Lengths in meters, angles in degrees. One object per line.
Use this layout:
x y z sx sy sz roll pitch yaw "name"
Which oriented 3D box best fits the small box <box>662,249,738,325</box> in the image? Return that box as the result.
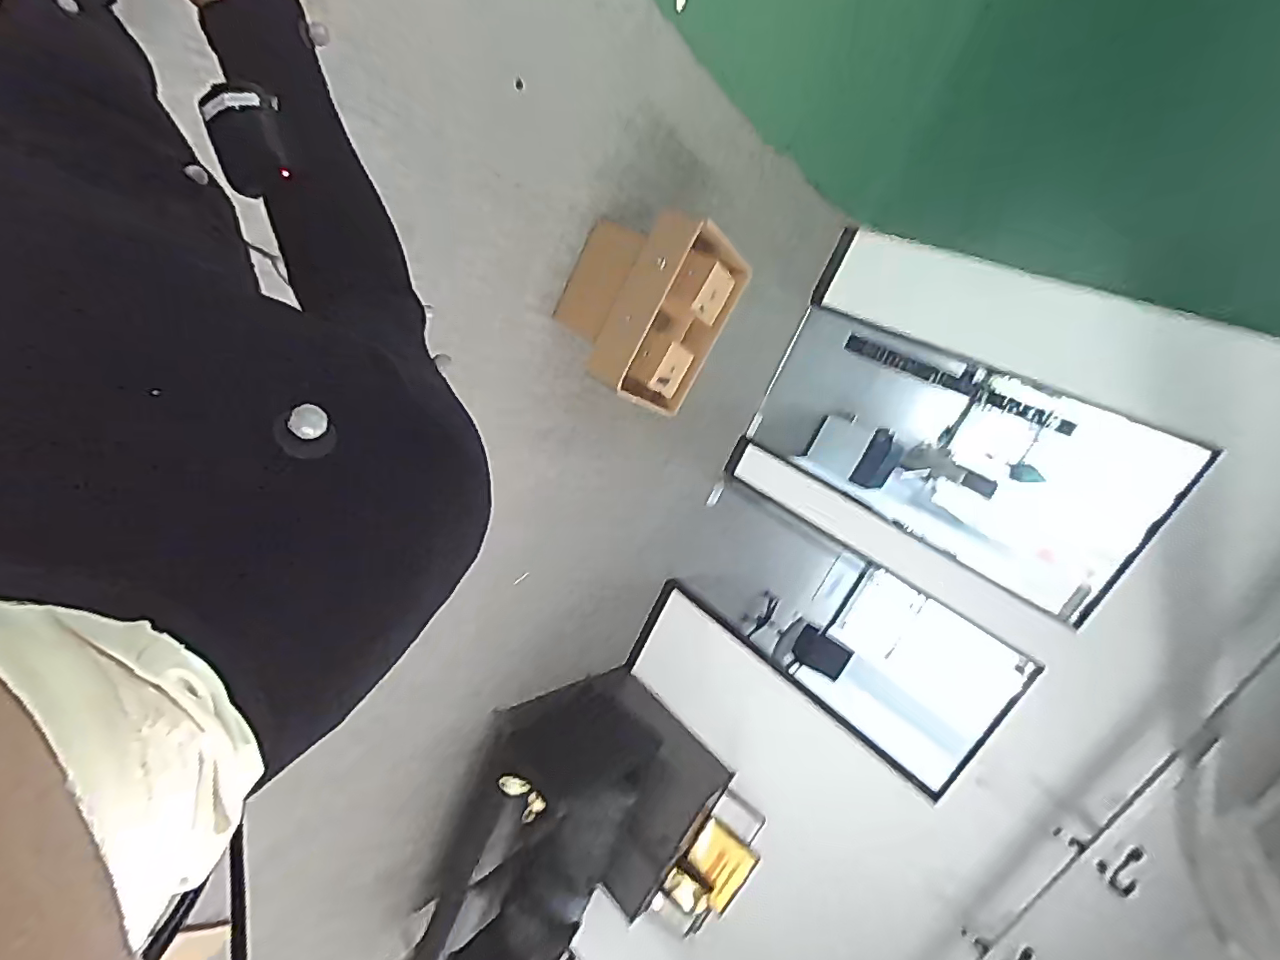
0.205 -0.674 1.882 0.168 0.176 0.179 17 105 -57 "small box"
